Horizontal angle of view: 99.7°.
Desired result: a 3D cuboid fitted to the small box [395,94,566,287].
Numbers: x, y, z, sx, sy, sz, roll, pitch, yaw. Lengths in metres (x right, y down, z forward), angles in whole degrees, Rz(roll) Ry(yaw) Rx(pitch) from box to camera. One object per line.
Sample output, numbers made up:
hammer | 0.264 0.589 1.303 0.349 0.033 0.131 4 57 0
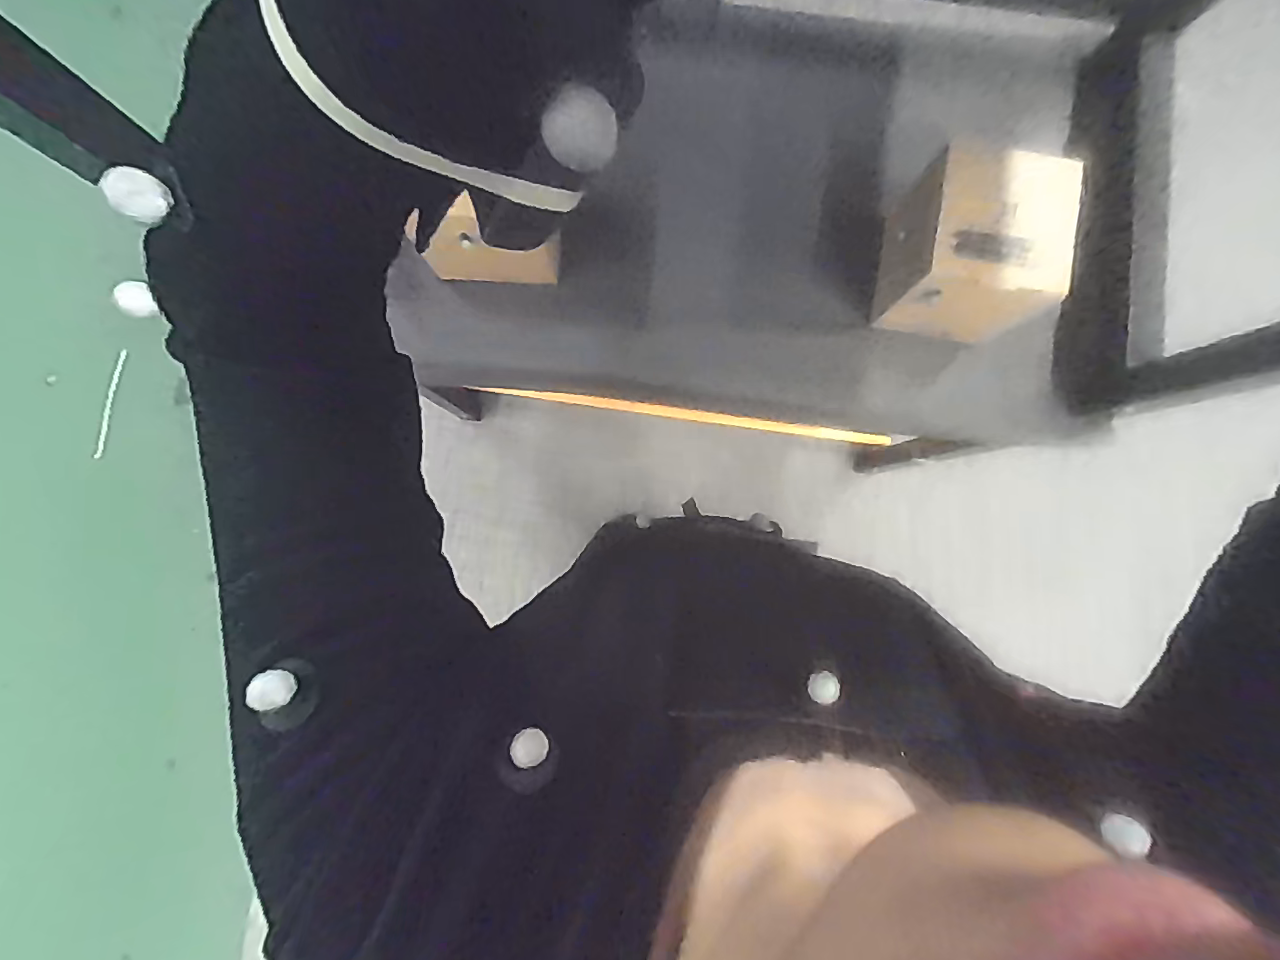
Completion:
small box | -0.202 -0.376 0.730 0.179 0.176 0.168 3 85 -1
